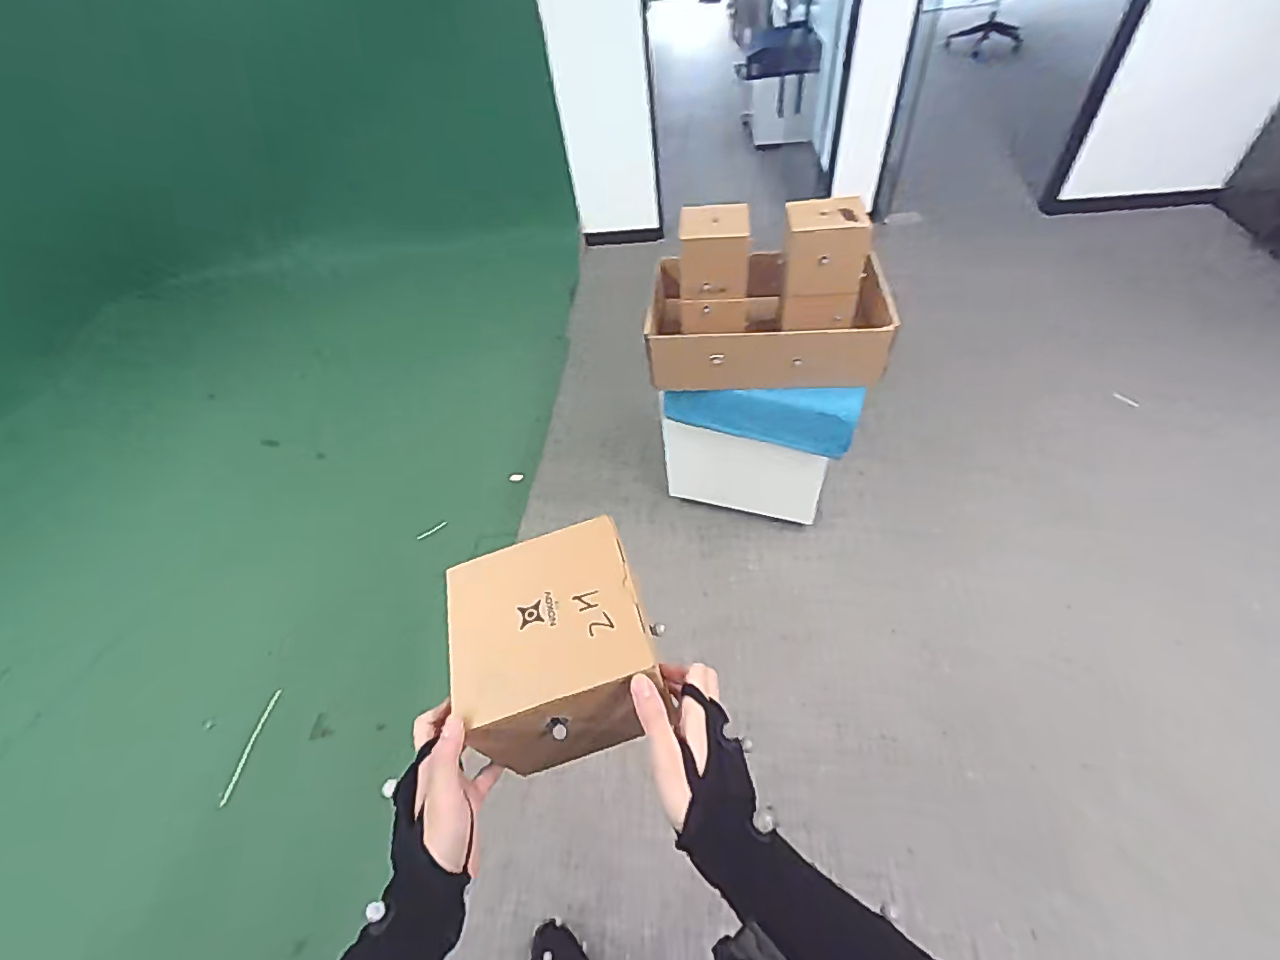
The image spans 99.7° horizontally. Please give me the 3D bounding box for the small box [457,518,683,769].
[{"bbox_3d":[-0.067,0.171,0.550,0.179,0.176,0.168,-17,50,-1],"label":"small box"}]

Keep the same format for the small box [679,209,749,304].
[{"bbox_3d":[0.187,-0.569,1.379,0.168,0.176,0.179,0,49,8],"label":"small box"}]

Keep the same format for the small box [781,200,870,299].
[{"bbox_3d":[0.449,-0.565,1.336,0.179,0.176,0.168,-1,48,9],"label":"small box"}]

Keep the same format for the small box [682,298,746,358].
[{"bbox_3d":[0.203,-0.457,1.496,0.168,0.176,0.179,0,48,8],"label":"small box"}]
